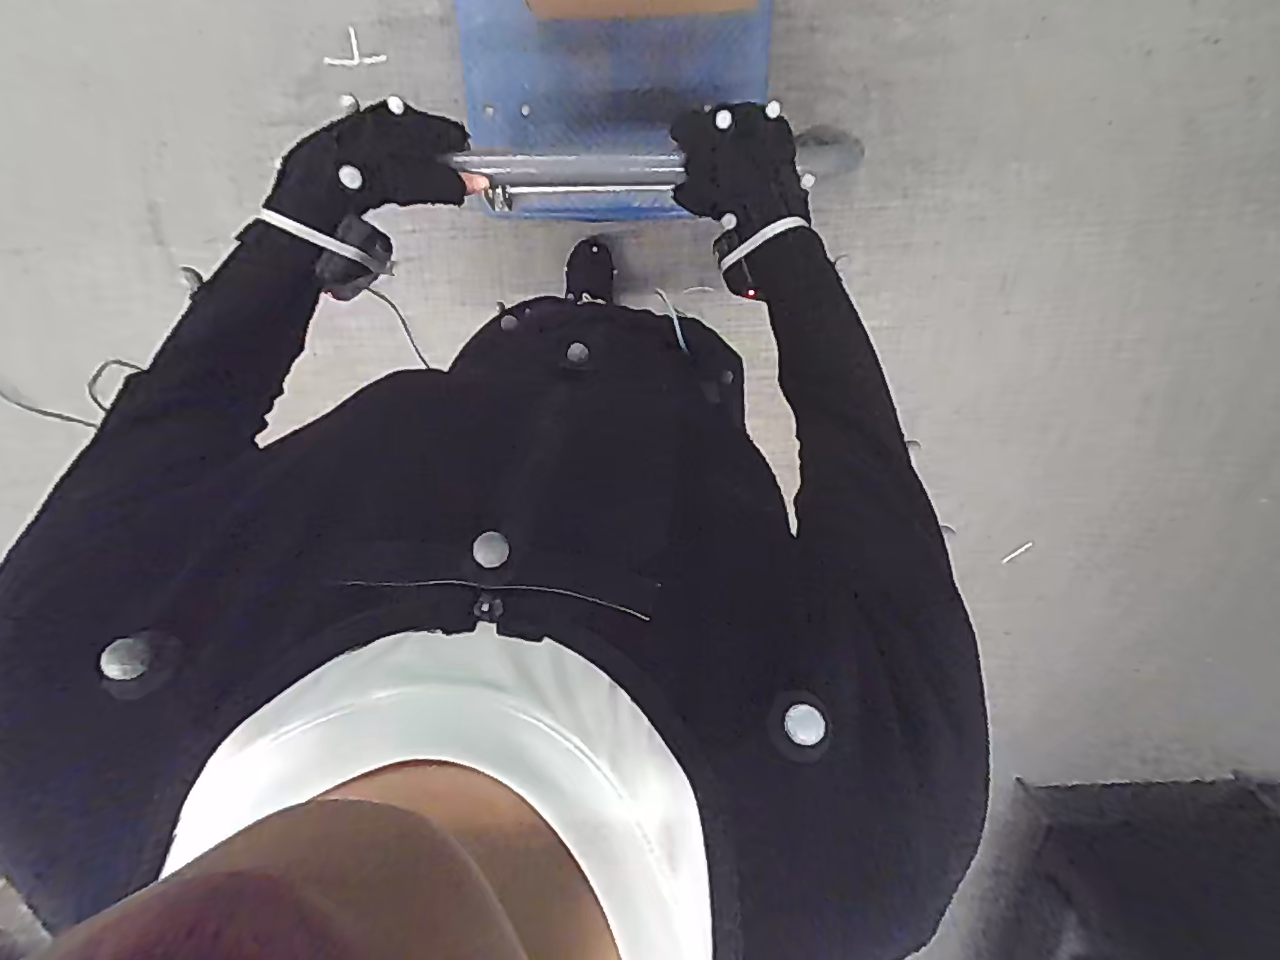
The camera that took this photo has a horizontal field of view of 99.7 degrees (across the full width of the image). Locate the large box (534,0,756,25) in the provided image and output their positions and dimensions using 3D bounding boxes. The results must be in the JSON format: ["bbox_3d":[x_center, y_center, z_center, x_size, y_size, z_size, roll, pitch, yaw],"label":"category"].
[{"bbox_3d":[0.008,-0.940,0.808,0.408,0.320,0.320,-3,112,2],"label":"large box"}]
